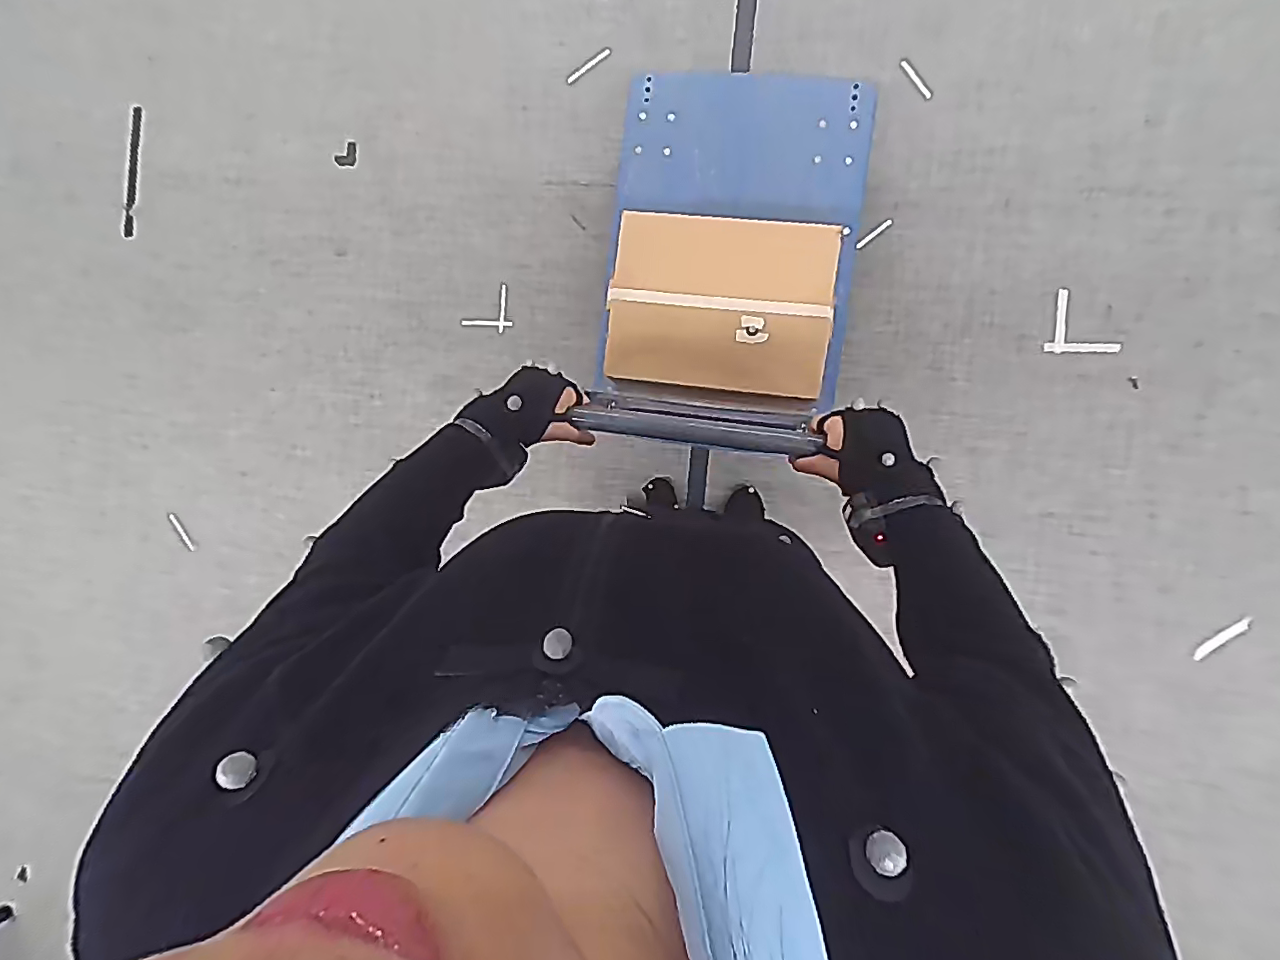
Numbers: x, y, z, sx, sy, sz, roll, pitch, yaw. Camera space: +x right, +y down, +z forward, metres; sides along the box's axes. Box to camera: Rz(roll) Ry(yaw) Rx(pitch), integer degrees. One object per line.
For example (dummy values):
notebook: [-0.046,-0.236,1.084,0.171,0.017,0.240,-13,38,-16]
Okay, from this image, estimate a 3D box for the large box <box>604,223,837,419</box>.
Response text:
large box: [0.157,-0.311,1.140,0.408,0.320,0.320,7,93,7]
